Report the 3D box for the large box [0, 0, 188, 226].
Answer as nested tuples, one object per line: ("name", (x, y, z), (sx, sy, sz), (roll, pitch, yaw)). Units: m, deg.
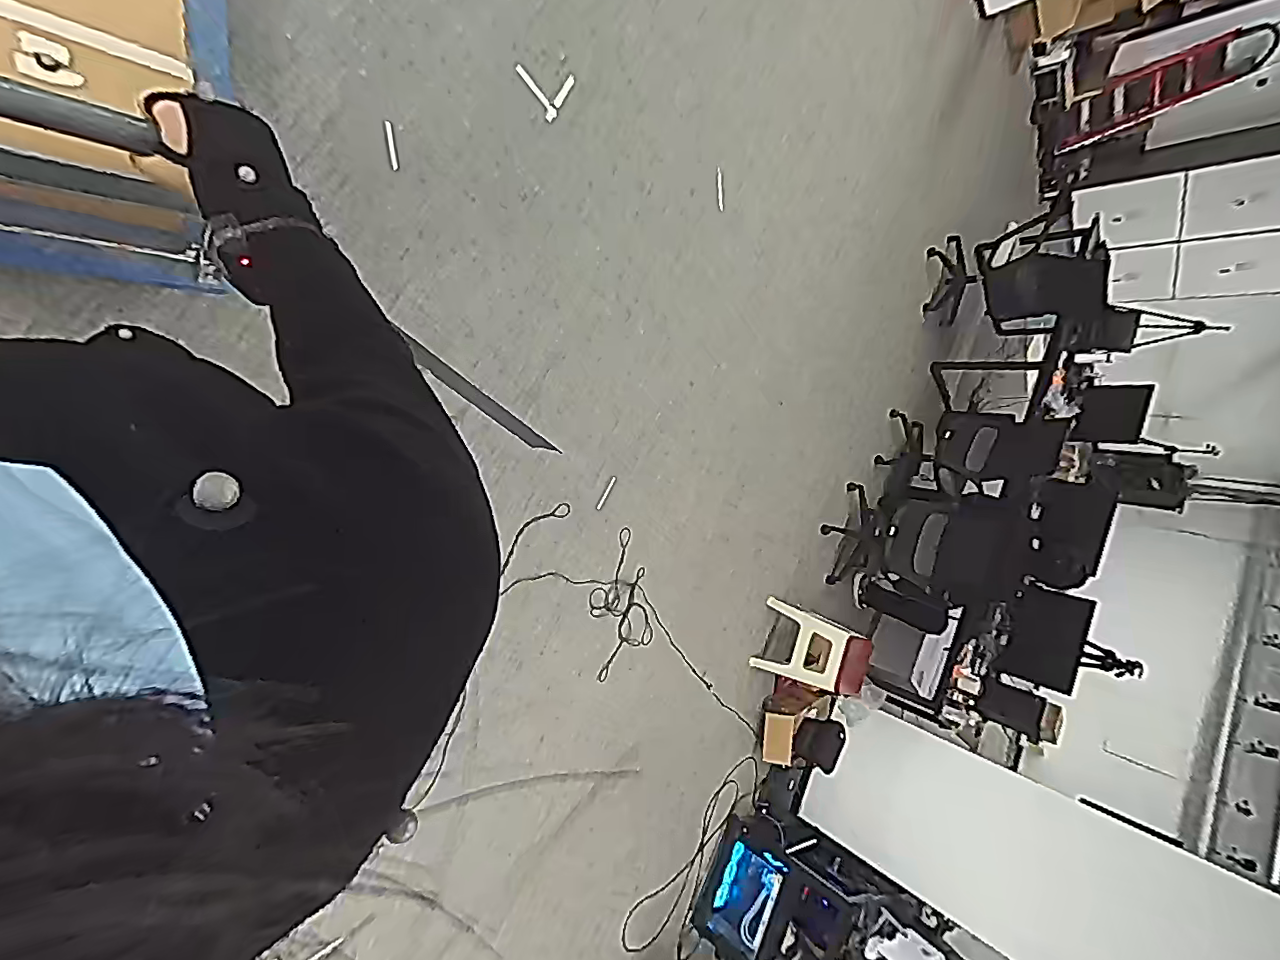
("large box", (-0.881, -0.569, 0.708), (0.408, 0.320, 0.320), (-5, 103, -46))
